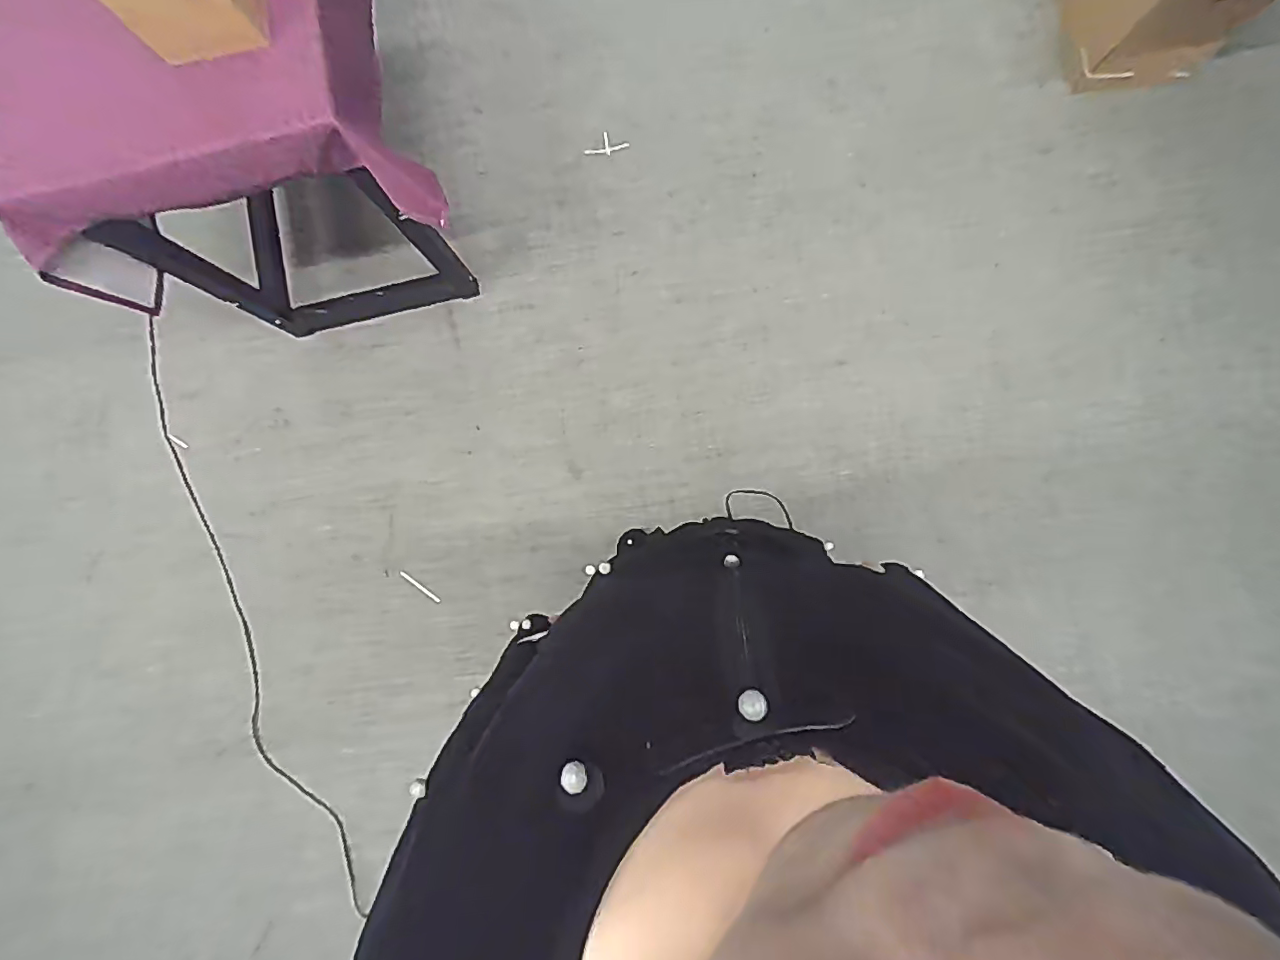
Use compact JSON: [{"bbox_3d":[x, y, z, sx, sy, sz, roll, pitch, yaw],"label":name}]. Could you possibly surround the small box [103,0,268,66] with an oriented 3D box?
[{"bbox_3d":[-0.703,-0.784,0.824,0.179,0.176,0.168,-9,85,3],"label":"small box"}]
